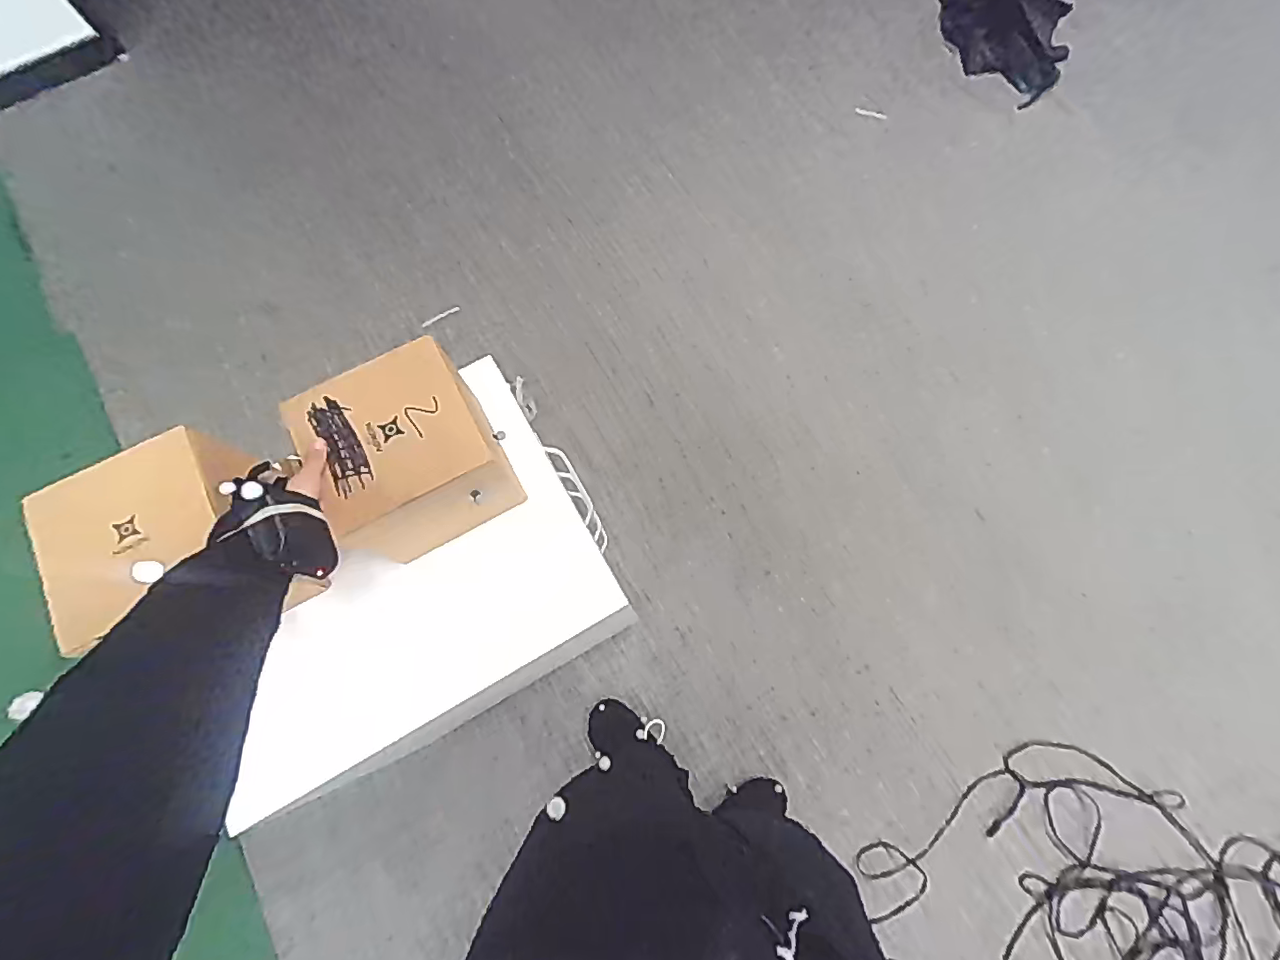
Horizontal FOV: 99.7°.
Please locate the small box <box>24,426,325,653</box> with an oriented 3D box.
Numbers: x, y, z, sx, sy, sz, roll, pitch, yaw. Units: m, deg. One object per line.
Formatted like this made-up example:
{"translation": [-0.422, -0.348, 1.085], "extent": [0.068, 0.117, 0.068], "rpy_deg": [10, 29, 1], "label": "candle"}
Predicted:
{"translation": [-0.494, 0.074, 0.600], "extent": [0.168, 0.176, 0.179], "rpy_deg": [-29, 76, -8], "label": "small box"}
